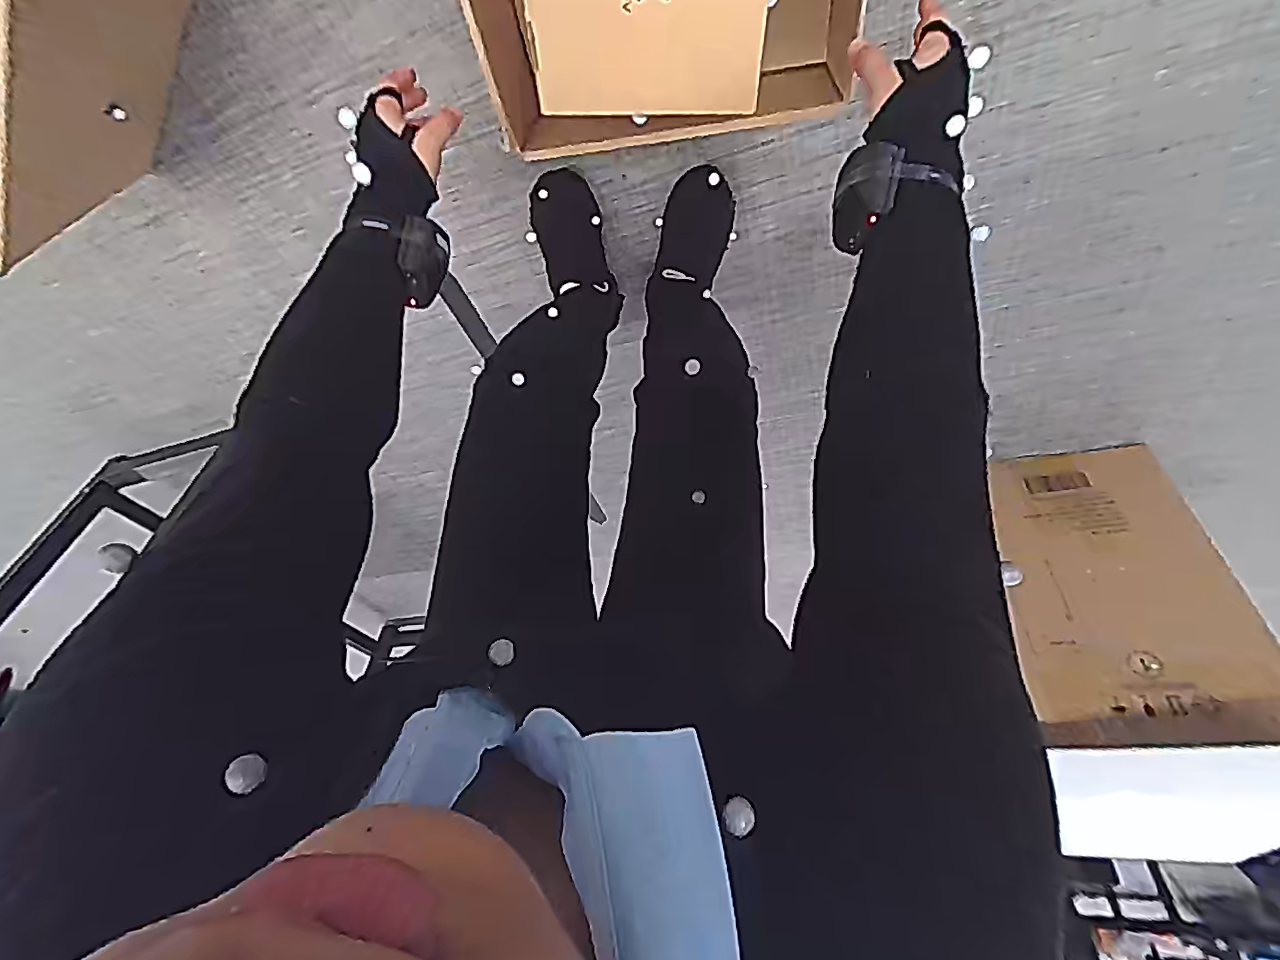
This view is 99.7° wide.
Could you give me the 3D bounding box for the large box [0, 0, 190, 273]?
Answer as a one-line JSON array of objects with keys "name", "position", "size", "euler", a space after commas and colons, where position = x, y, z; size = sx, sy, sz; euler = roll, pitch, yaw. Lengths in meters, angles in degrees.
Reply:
[{"name": "large box", "position": [-0.763, -0.531, 0.583], "size": [0.320, 0.320, 0.408], "euler": [34, 134, -30]}]
